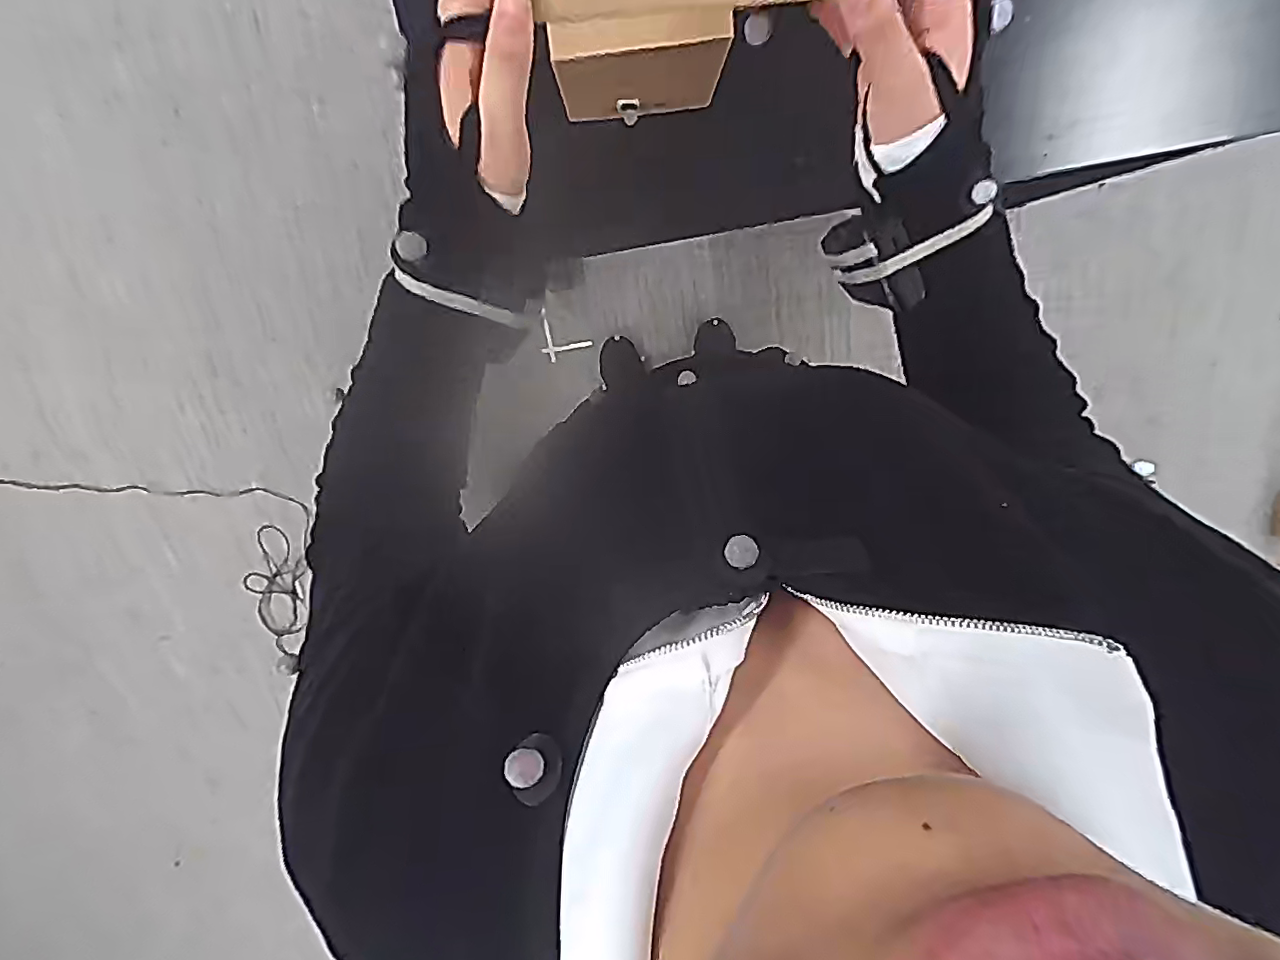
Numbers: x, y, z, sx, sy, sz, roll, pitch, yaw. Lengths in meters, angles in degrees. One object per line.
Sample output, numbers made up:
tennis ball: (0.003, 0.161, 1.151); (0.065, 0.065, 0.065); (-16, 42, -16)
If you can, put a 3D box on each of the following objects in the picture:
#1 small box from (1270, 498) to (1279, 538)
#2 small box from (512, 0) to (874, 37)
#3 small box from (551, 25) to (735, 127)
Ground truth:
small box: (1.937, 0.102, 1.502); (0.179, 0.176, 0.168); (-7, 107, 2)
small box: (0.017, -0.332, 0.264); (0.179, 0.176, 0.168); (-6, 131, -2)
small box: (-0.006, -0.483, 0.533); (0.168, 0.176, 0.179); (-7, 107, 2)
